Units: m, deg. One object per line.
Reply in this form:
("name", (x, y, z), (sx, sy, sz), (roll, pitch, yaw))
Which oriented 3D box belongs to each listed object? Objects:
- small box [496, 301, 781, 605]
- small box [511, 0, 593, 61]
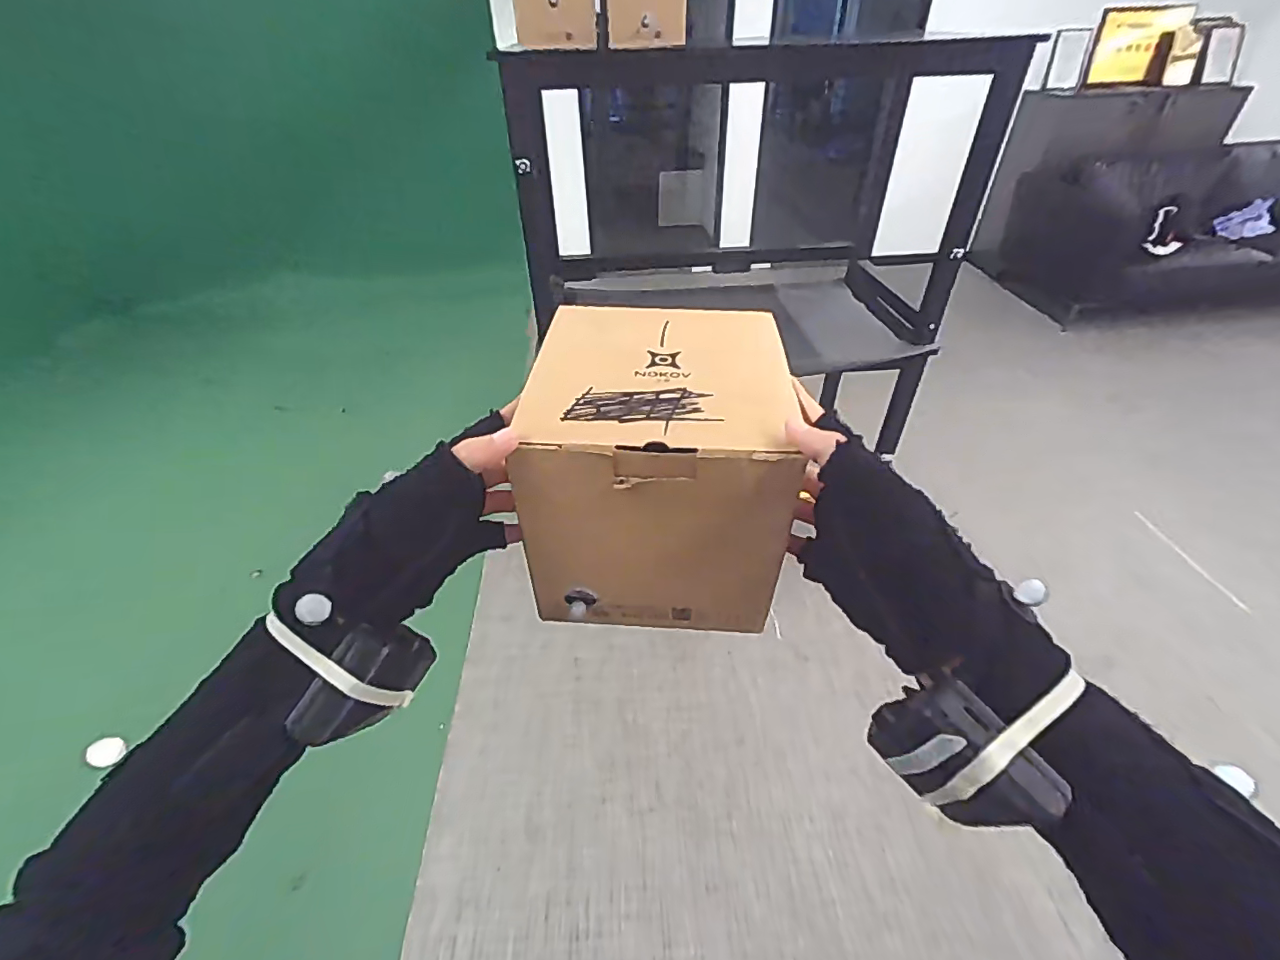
("small box", (0.005, -0.023, 0.415), (0.168, 0.176, 0.179), (2, 40, 3))
("small box", (-0.199, -1.041, 1.198), (0.168, 0.176, 0.179), (-7, 39, -9))
